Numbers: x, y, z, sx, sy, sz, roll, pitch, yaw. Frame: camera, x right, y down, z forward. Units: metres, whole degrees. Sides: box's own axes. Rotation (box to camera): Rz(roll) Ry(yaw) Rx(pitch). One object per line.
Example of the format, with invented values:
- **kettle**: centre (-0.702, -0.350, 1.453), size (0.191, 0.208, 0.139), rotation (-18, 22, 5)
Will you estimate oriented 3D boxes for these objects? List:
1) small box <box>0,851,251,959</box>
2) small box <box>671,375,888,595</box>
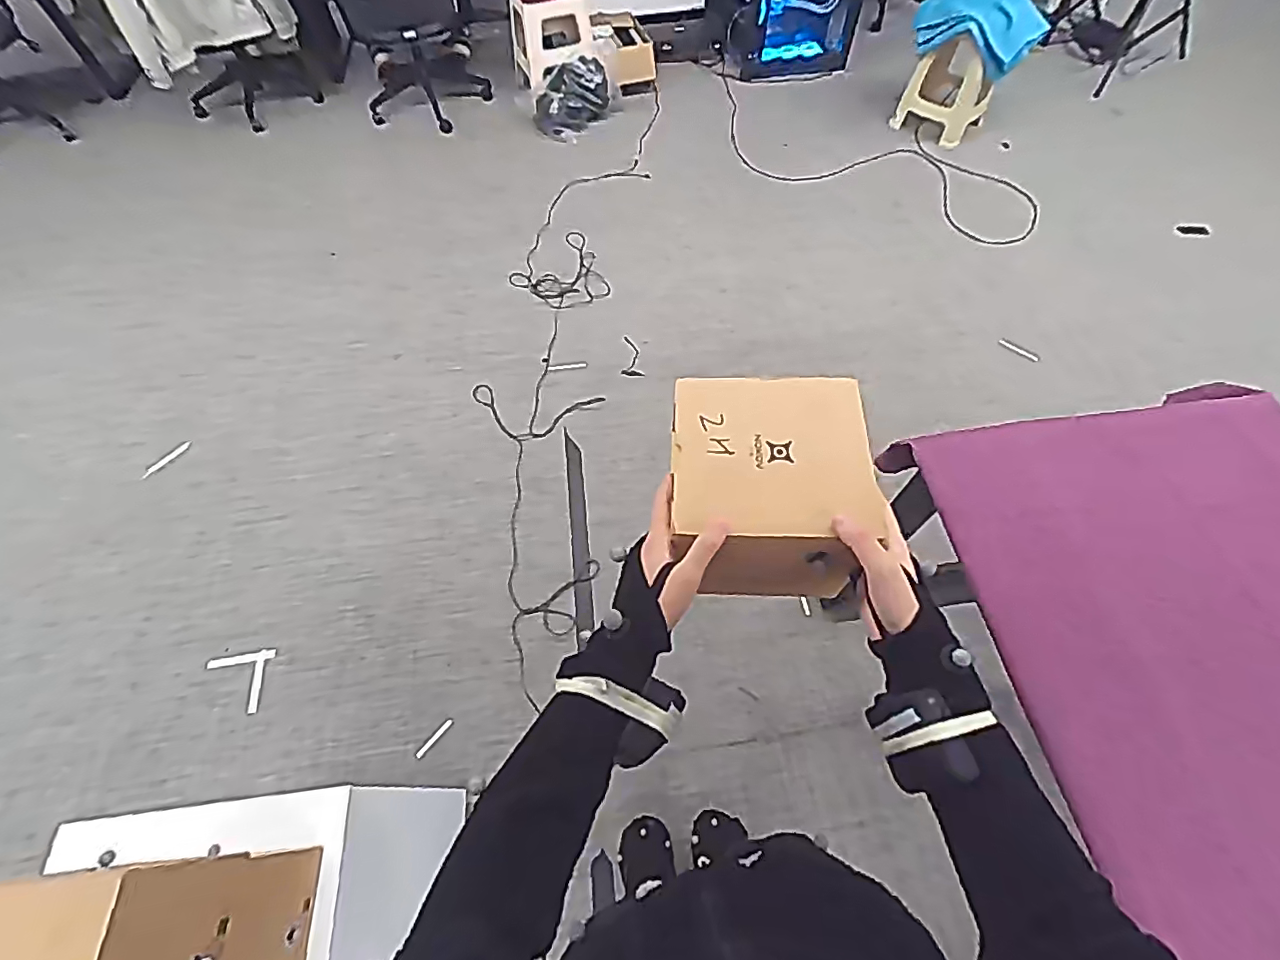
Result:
- **small box**: centre (-0.498, 0.437, 0.474), size (0.179, 0.176, 0.168), rotation (-4, 61, -2)
- **small box**: centre (0.122, 0.012, 0.545), size (0.179, 0.176, 0.168), rotation (0, 62, 5)
